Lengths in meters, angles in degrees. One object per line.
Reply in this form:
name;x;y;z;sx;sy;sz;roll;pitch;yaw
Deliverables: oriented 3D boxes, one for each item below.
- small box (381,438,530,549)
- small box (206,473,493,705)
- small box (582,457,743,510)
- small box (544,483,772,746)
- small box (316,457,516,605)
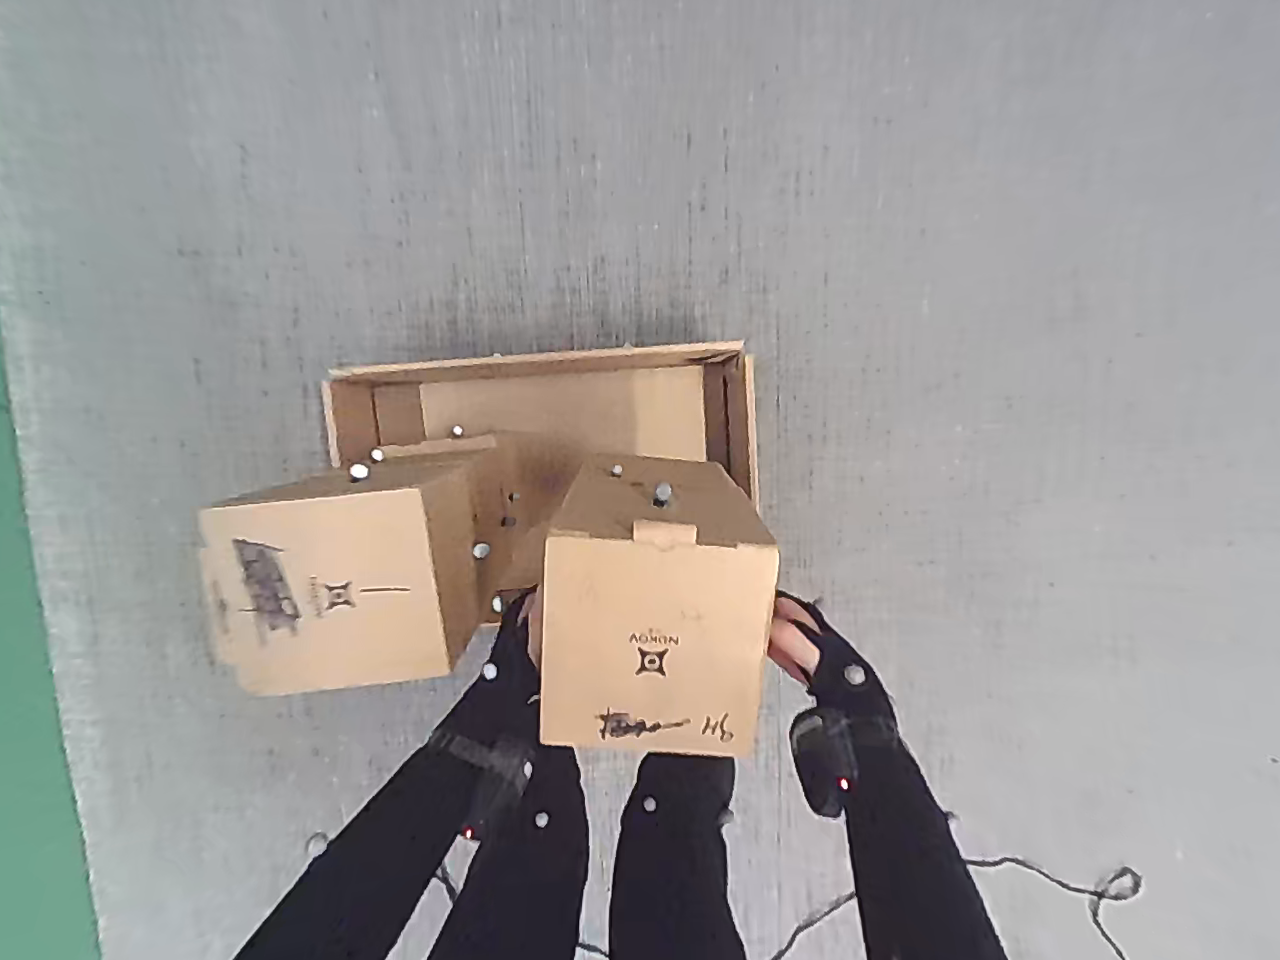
small box;-0.274;0.032;0.845;0.168;0.176;0.179;-7;97;-2
small box;-0.257;0.090;0.523;0.179;0.176;0.168;-6;99;-2
small box;0.014;0.071;0.647;0.179;0.176;0.168;4;103;0
small box;0.011;0.105;0.486;0.168;0.176;0.179;3;103;0
small box;-0.267;0.065;0.686;0.179;0.176;0.168;-6;98;-3
